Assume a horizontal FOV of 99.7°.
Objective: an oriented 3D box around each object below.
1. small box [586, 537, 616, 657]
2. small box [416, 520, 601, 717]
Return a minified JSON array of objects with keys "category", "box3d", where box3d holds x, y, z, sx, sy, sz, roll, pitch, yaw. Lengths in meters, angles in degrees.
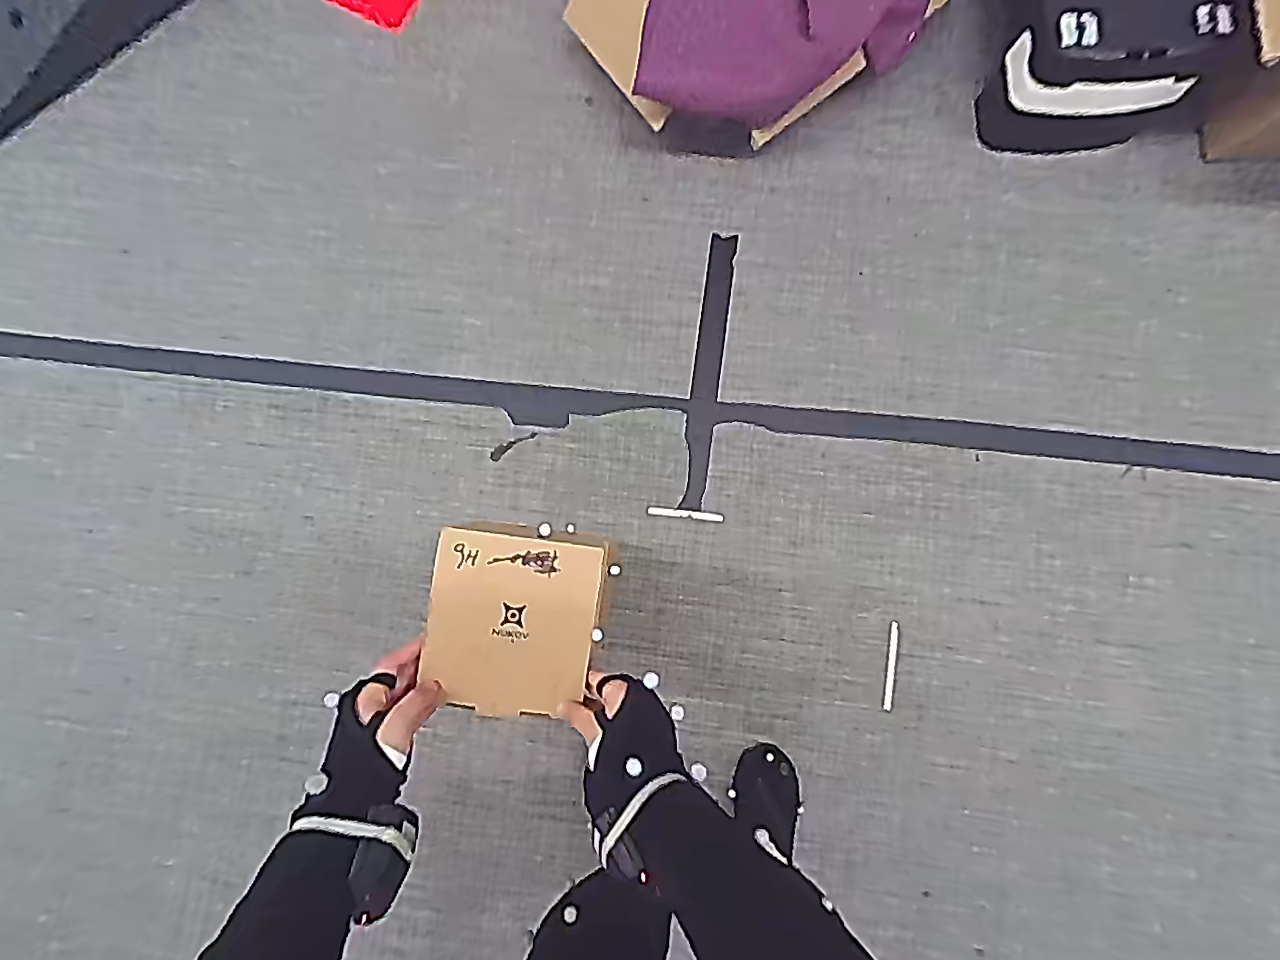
[{"category":"small box","box3d":[-0.135,0.174,0.893,0.168,0.176,0.179,8,86,4]},{"category":"small box","box3d":[-0.138,0.147,0.628,0.168,0.176,0.179,8,87,-4]}]
